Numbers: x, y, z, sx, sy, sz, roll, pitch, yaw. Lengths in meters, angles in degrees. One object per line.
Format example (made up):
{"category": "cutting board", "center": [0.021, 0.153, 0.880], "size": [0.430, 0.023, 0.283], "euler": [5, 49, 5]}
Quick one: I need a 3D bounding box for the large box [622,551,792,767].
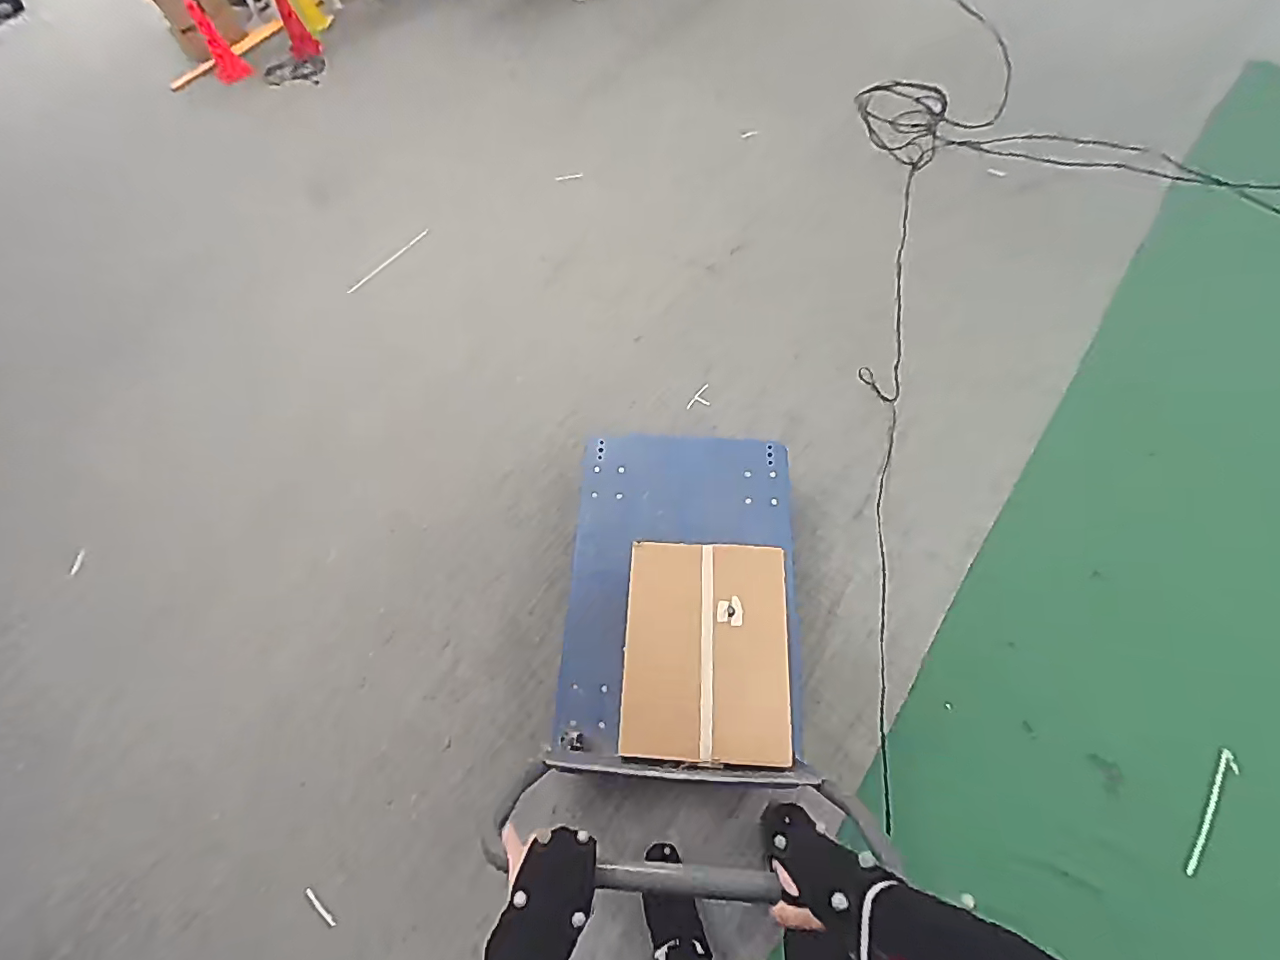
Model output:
{"category": "large box", "center": [0.139, 0.398, 1.197], "size": [0.320, 0.320, 0.408], "euler": [2, 65, 4]}
